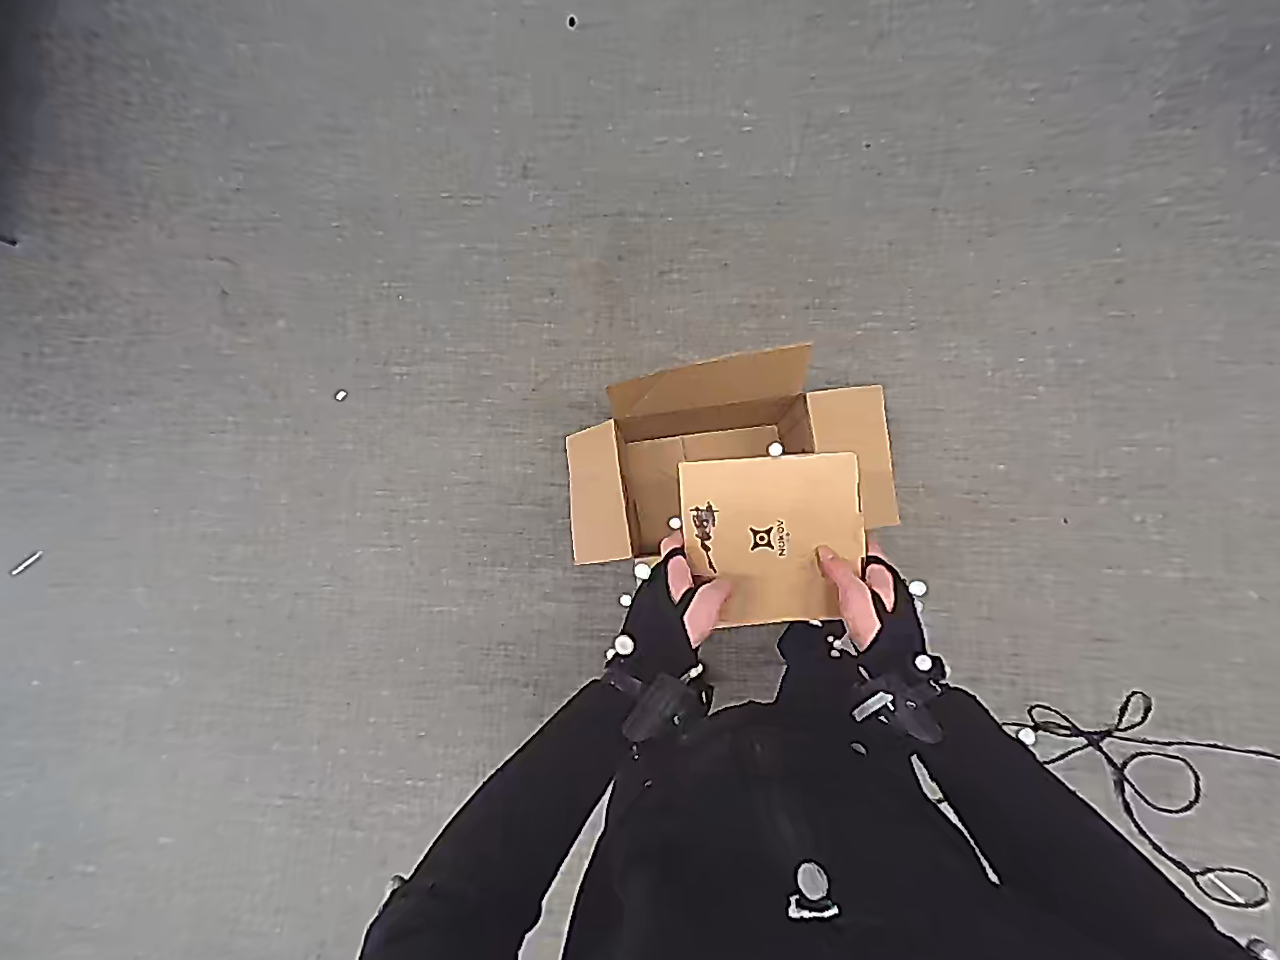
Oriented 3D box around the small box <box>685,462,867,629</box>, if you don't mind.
[{"bbox_3d":[0.144,0.065,0.621,0.179,0.176,0.168,-3,91,8],"label":"small box"}]
